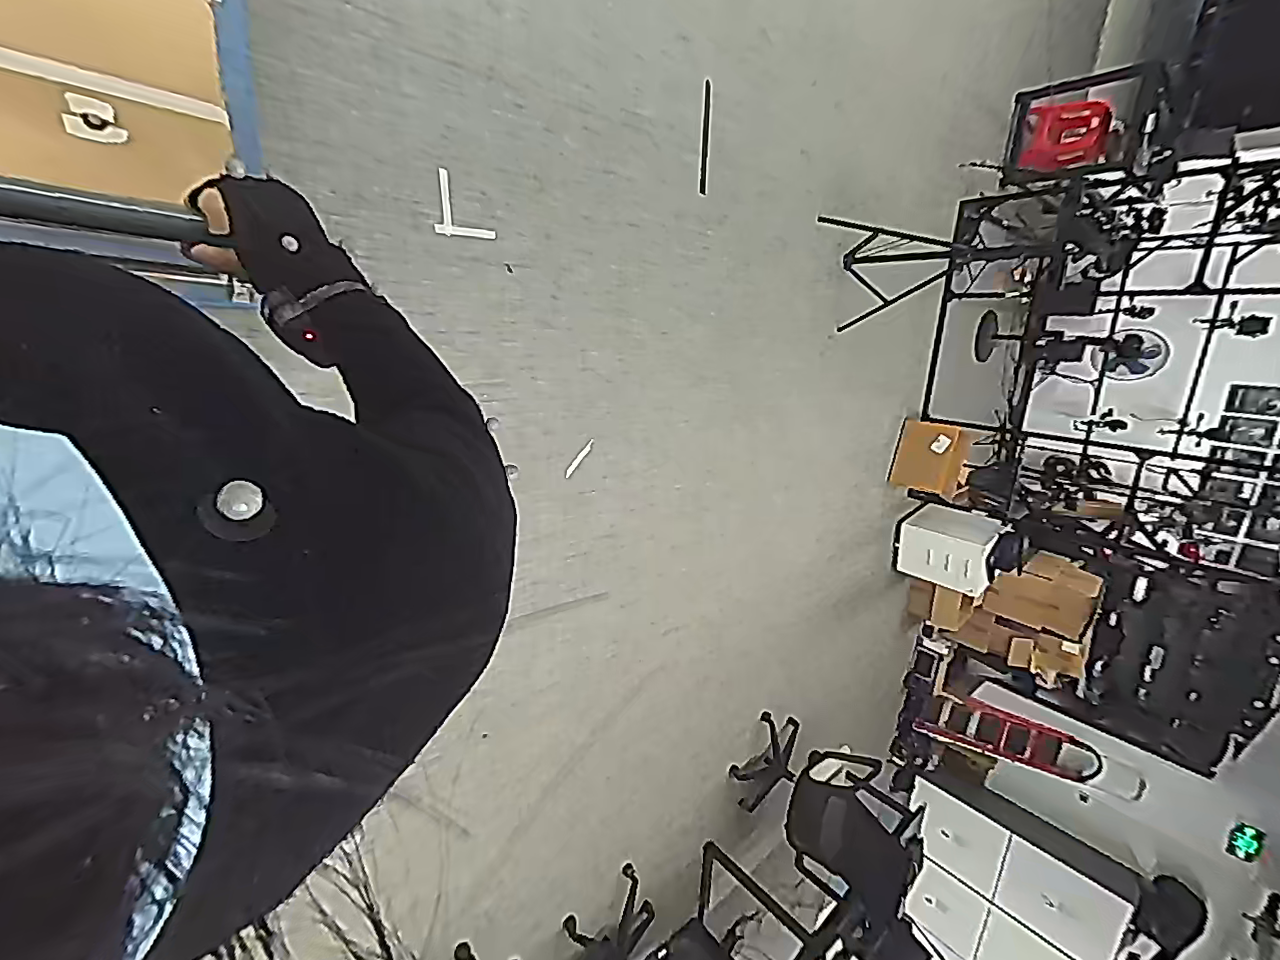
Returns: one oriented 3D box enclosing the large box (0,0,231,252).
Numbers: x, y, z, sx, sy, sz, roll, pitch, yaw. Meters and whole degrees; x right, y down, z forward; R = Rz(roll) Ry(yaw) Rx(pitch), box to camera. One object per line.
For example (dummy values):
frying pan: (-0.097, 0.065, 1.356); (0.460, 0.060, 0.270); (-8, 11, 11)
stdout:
large box: (-0.834, -0.507, 0.721); (0.408, 0.320, 0.320); (-9, 110, -43)
